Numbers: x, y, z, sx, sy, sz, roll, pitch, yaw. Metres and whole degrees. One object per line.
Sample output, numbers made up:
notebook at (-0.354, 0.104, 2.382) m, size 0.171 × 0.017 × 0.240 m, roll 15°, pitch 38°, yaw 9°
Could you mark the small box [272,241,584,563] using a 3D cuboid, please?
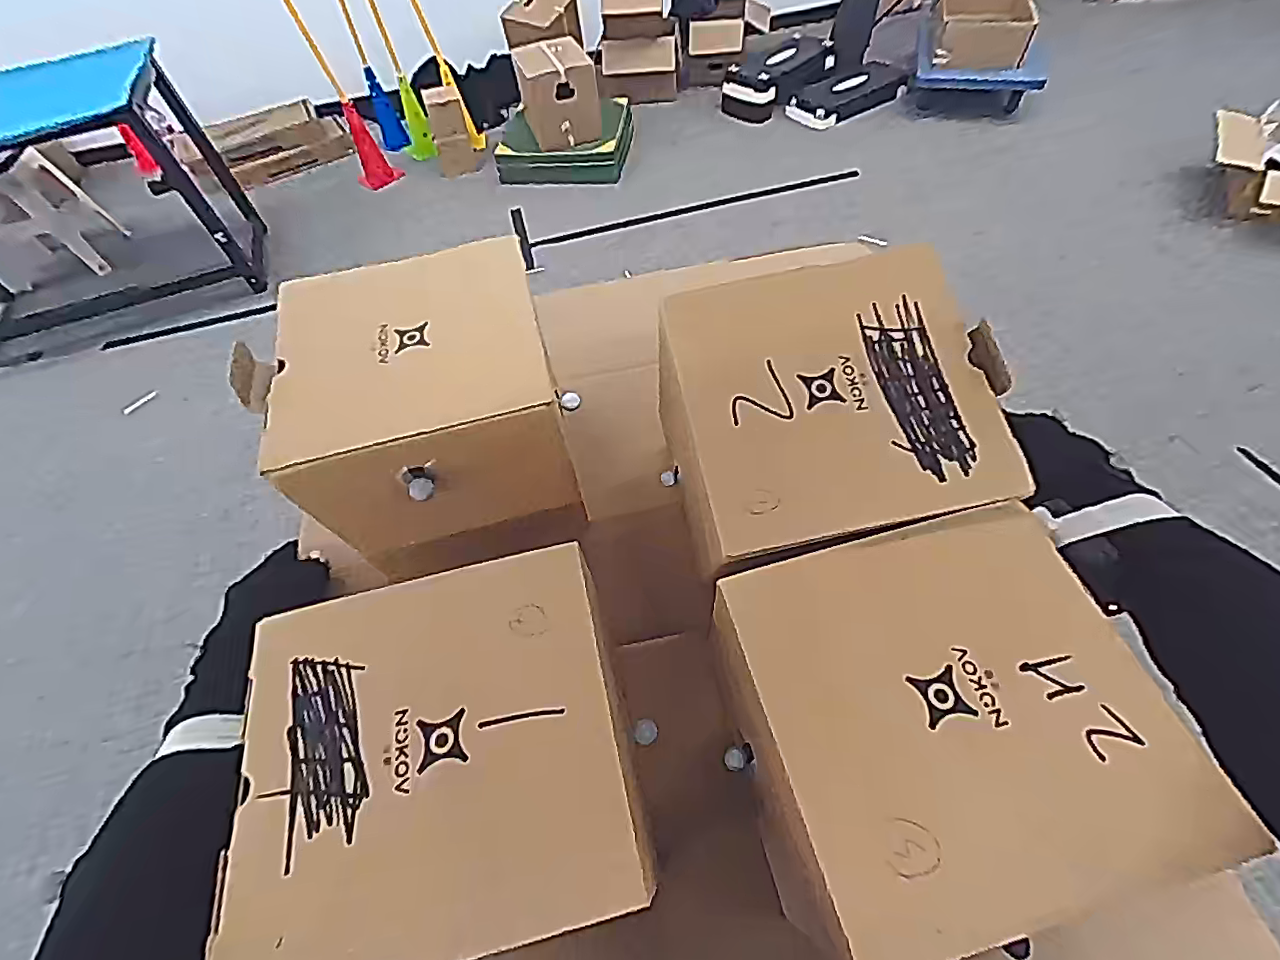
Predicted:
small box at (-0.148, -0.053, 0.433) m, size 0.179 × 0.176 × 0.168 m, roll -15°, pitch 59°, yaw -3°
